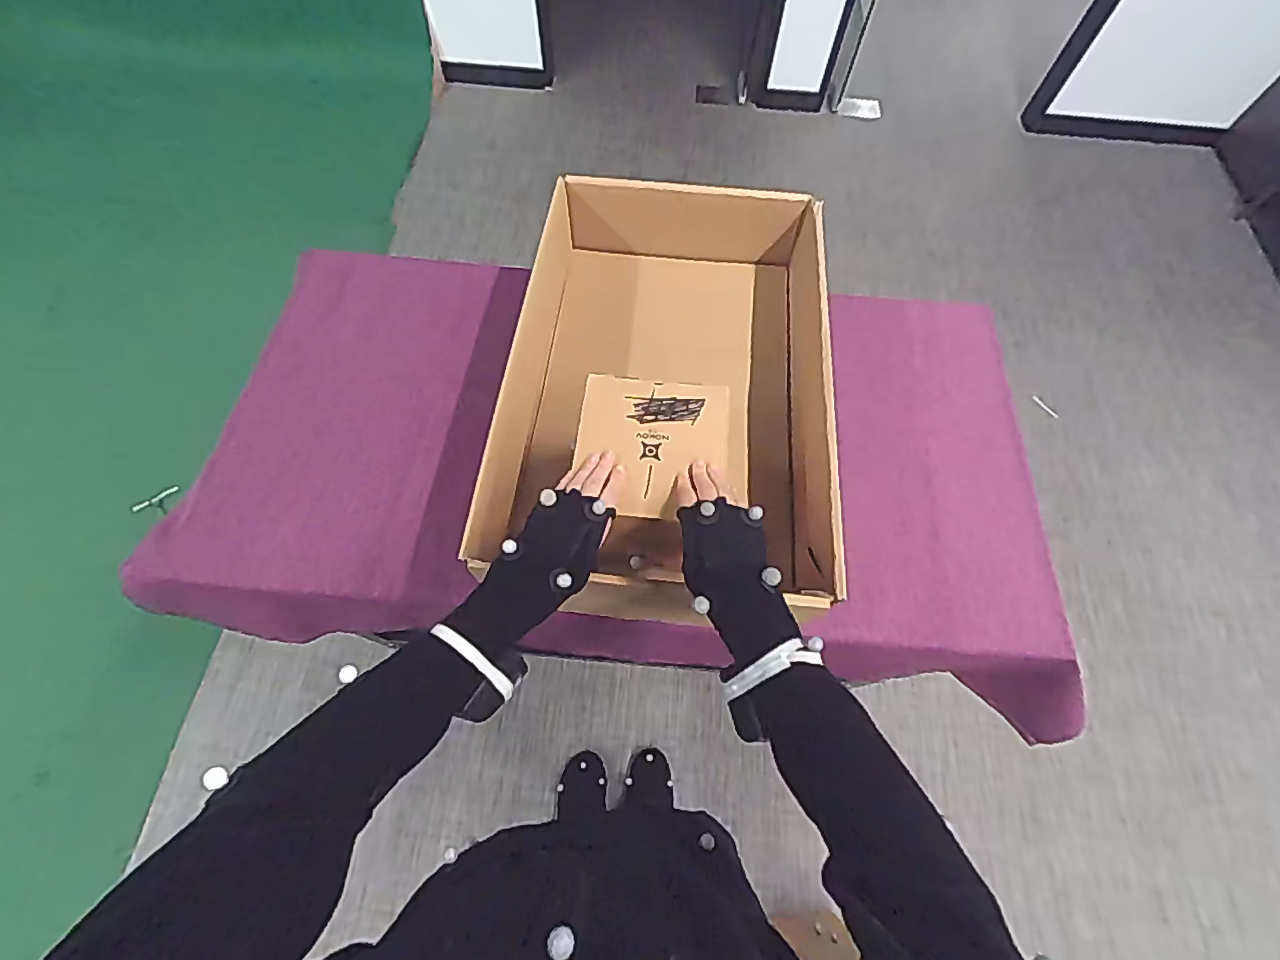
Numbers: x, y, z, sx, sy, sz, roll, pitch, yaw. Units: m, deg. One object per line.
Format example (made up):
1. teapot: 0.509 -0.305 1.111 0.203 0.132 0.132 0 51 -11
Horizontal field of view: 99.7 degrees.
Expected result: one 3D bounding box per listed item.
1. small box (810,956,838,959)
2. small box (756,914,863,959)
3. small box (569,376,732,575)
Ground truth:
1. small box: 0.344 0.823 0.773 0.168 0.176 0.179 7 63 2
2. small box: 0.331 0.981 1.063 0.179 0.176 0.168 1 64 -2
3. small box: 0.014 0.000 0.655 0.168 0.176 0.179 5 64 2
